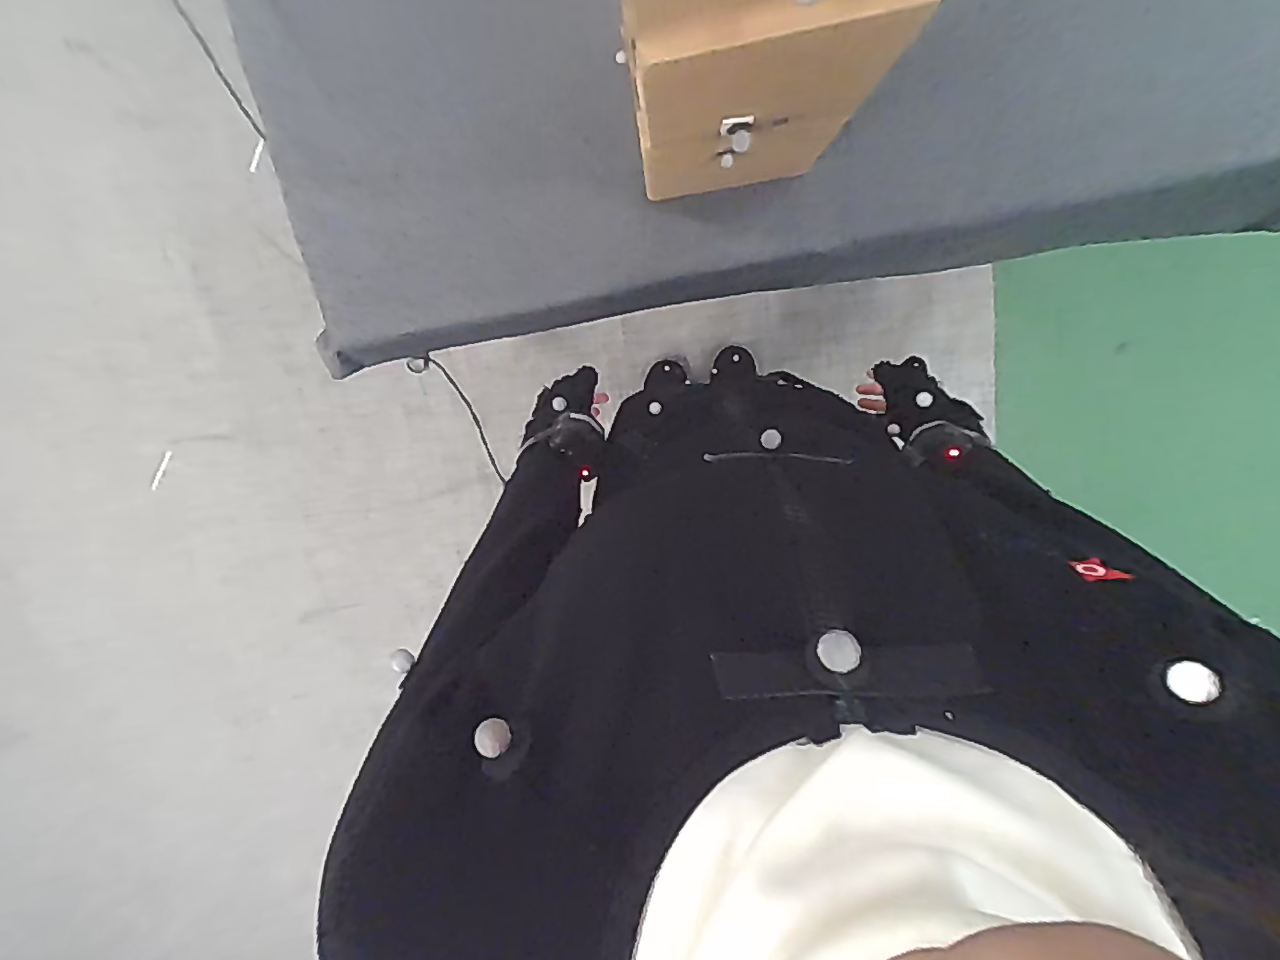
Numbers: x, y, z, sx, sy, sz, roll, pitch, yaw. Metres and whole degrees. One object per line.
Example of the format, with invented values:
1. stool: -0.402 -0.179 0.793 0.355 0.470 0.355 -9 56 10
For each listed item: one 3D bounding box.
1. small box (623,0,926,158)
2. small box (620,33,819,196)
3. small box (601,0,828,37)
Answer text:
1. small box: 0.066 -0.345 0.354 0.168 0.176 0.179 -8 105 7
2. small box: 0.076 -0.386 0.509 0.179 0.176 0.168 -7 104 4
3. small box: 0.053 -0.309 0.194 0.179 0.176 0.168 -7 103 6
